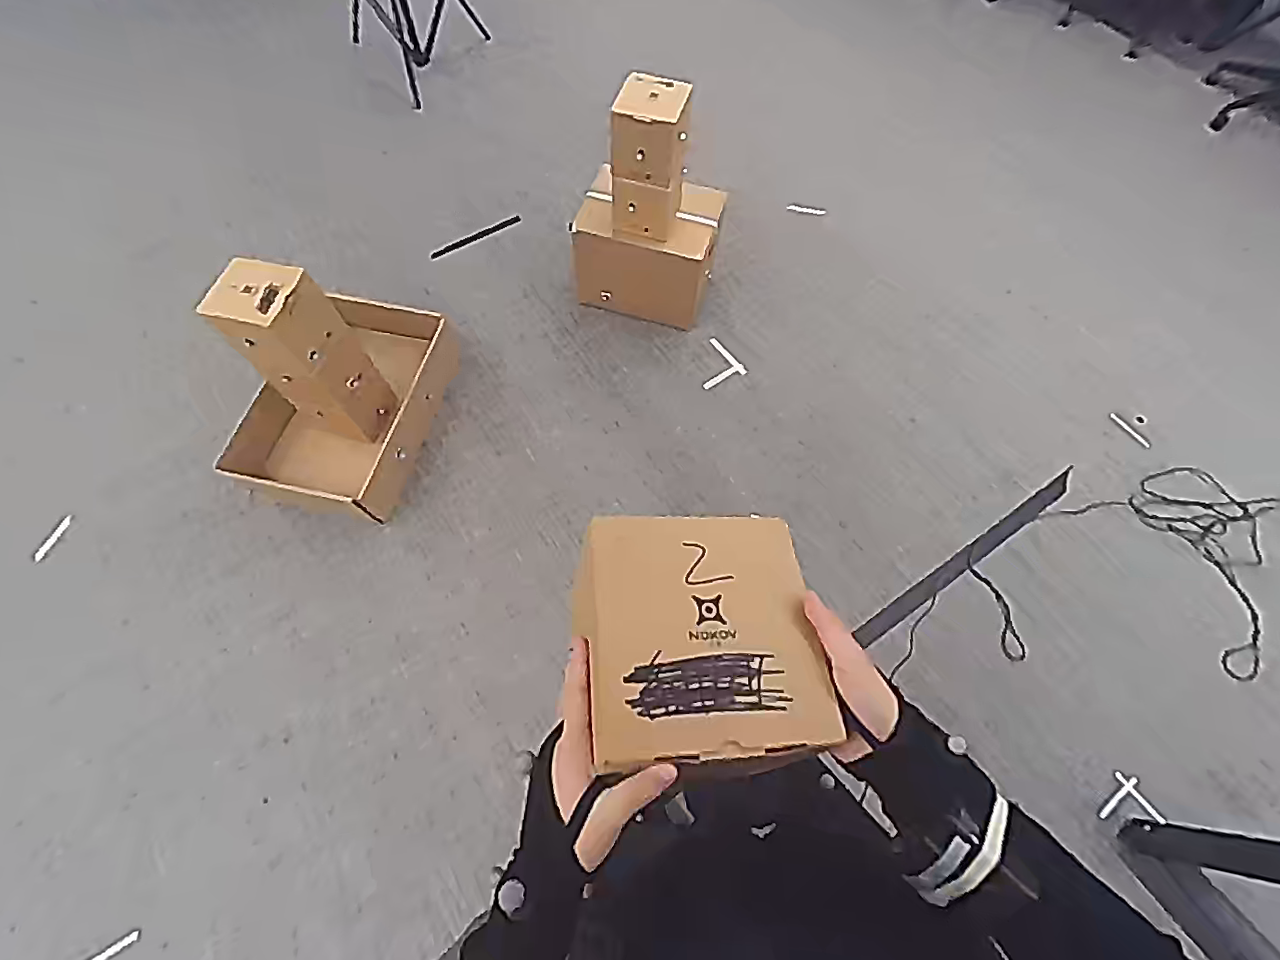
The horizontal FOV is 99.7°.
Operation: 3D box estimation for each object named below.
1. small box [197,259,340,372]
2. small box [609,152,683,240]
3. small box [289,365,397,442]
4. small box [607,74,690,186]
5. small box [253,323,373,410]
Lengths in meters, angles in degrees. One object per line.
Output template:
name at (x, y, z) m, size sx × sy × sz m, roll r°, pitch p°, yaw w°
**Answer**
small box at (-0.828, -0.367, 1.230) m, size 0.179 × 0.176 × 0.168 m, roll 11°, pitch 66°, yaw 5°
small box at (0.018, -0.819, 1.540) m, size 0.168 × 0.176 × 0.179 m, roll 16°, pitch 65°, yaw 5°
small box at (-0.828, -0.228, 1.525) m, size 0.179 × 0.176 × 0.168 m, roll 14°, pitch 66°, yaw 5°
small box at (0.022, -0.897, 1.395) m, size 0.168 × 0.176 × 0.179 m, roll 16°, pitch 66°, yaw 5°
small box at (-0.826, -0.298, 1.379) m, size 0.179 × 0.176 × 0.168 m, roll 13°, pitch 66°, yaw 4°
